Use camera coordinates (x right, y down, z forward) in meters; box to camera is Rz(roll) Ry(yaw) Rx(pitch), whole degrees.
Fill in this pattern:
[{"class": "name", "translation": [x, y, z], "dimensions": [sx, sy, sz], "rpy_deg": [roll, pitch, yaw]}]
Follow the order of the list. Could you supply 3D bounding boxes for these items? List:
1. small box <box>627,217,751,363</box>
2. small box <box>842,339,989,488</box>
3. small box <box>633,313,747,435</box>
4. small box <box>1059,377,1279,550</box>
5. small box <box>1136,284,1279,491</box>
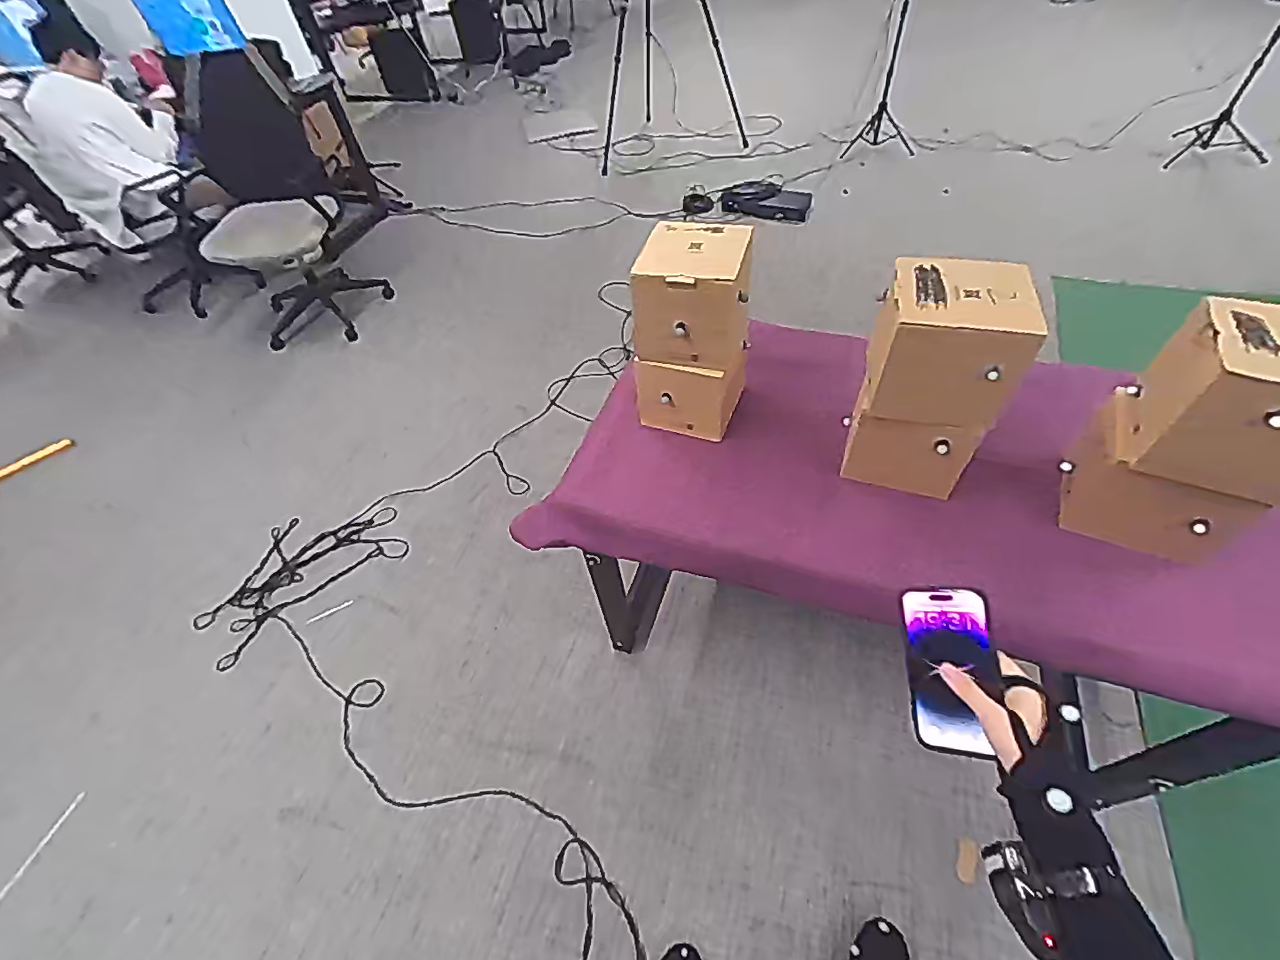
[{"class": "small box", "translation": [0.089, -0.320, 0.916], "dimensions": [0.168, 0.176, 0.179], "rpy_deg": [10, 53, 14]}, {"class": "small box", "translation": [0.457, -0.108, 0.909], "dimensions": [0.179, 0.176, 0.168], "rpy_deg": [14, 53, 18]}, {"class": "small box", "translation": [0.102, -0.210, 1.038], "dimensions": [0.168, 0.176, 0.179], "rpy_deg": [14, 54, 18]}, {"class": "small box", "translation": [0.767, -0.021, 0.800], "dimensions": [0.179, 0.176, 0.168], "rpy_deg": [19, 55, 21]}, {"class": "small box", "translation": [0.755, -0.111, 0.664], "dimensions": [0.179, 0.176, 0.168], "rpy_deg": [19, 55, 20]}]
